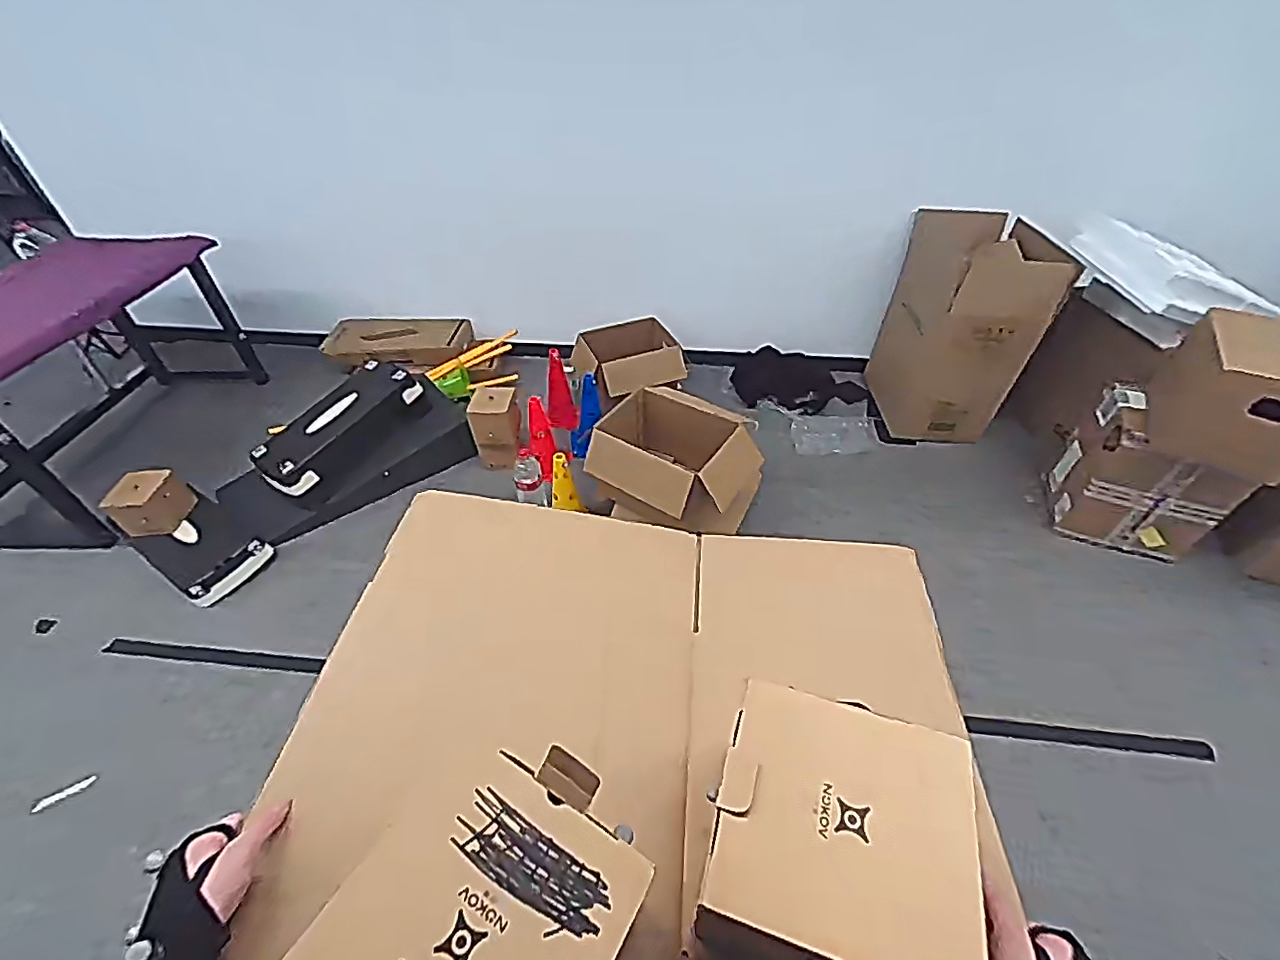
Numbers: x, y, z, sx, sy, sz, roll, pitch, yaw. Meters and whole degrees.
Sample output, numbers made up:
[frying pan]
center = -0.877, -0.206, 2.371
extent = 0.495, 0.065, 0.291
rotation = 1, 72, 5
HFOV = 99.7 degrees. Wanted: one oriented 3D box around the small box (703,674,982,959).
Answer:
[small box]
center = 0.157, 0.296, 0.457
extent = 0.179, 0.176, 0.168
rotation = 11, 48, 16
